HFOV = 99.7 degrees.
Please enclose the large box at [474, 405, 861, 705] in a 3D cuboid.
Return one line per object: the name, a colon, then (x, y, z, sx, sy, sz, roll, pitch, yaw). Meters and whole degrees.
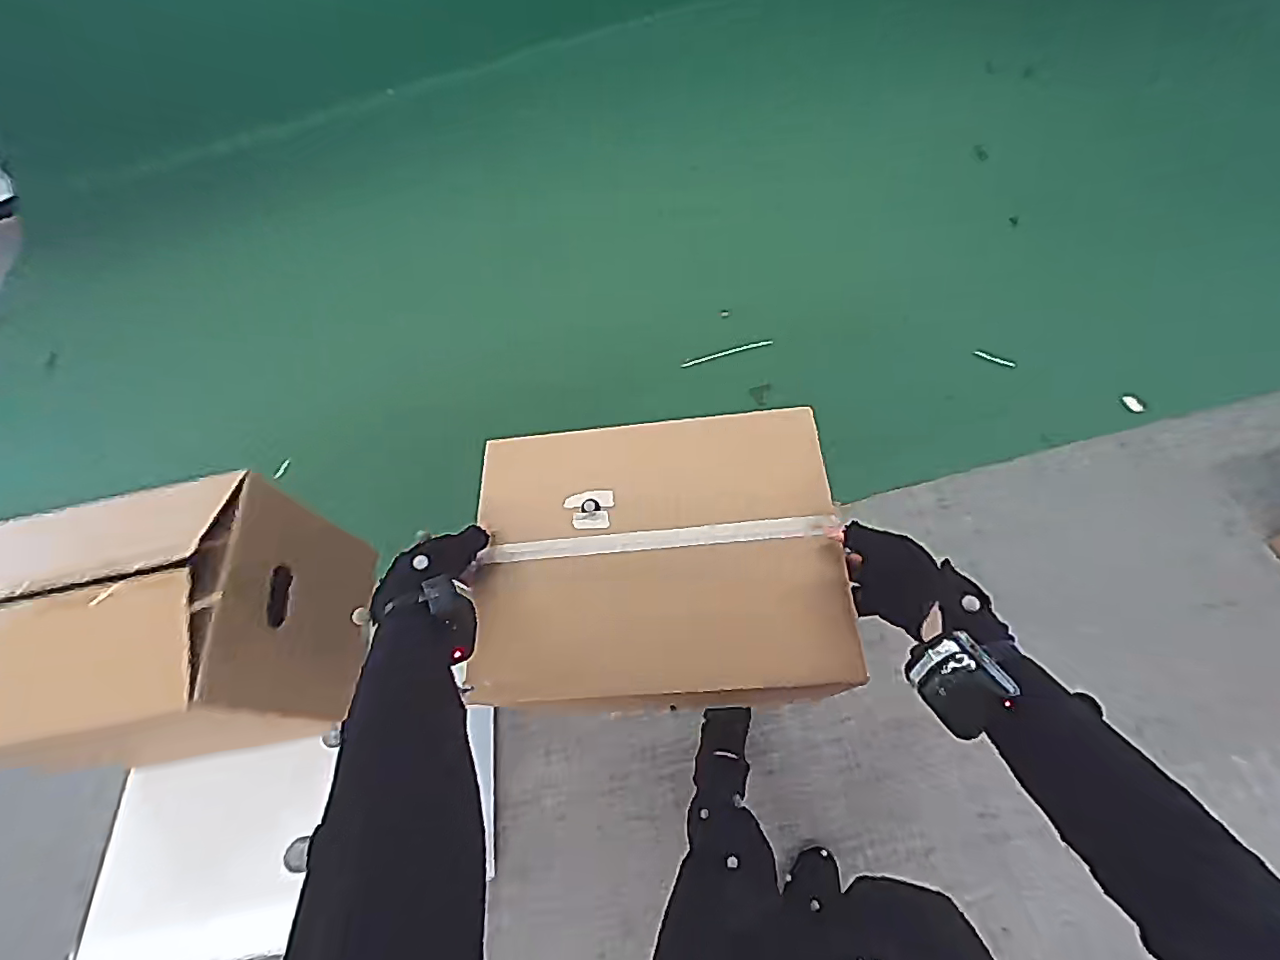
large box: (0.038, 0.129, 0.739, 0.408, 0.320, 0.320, -6, 64, 8)
